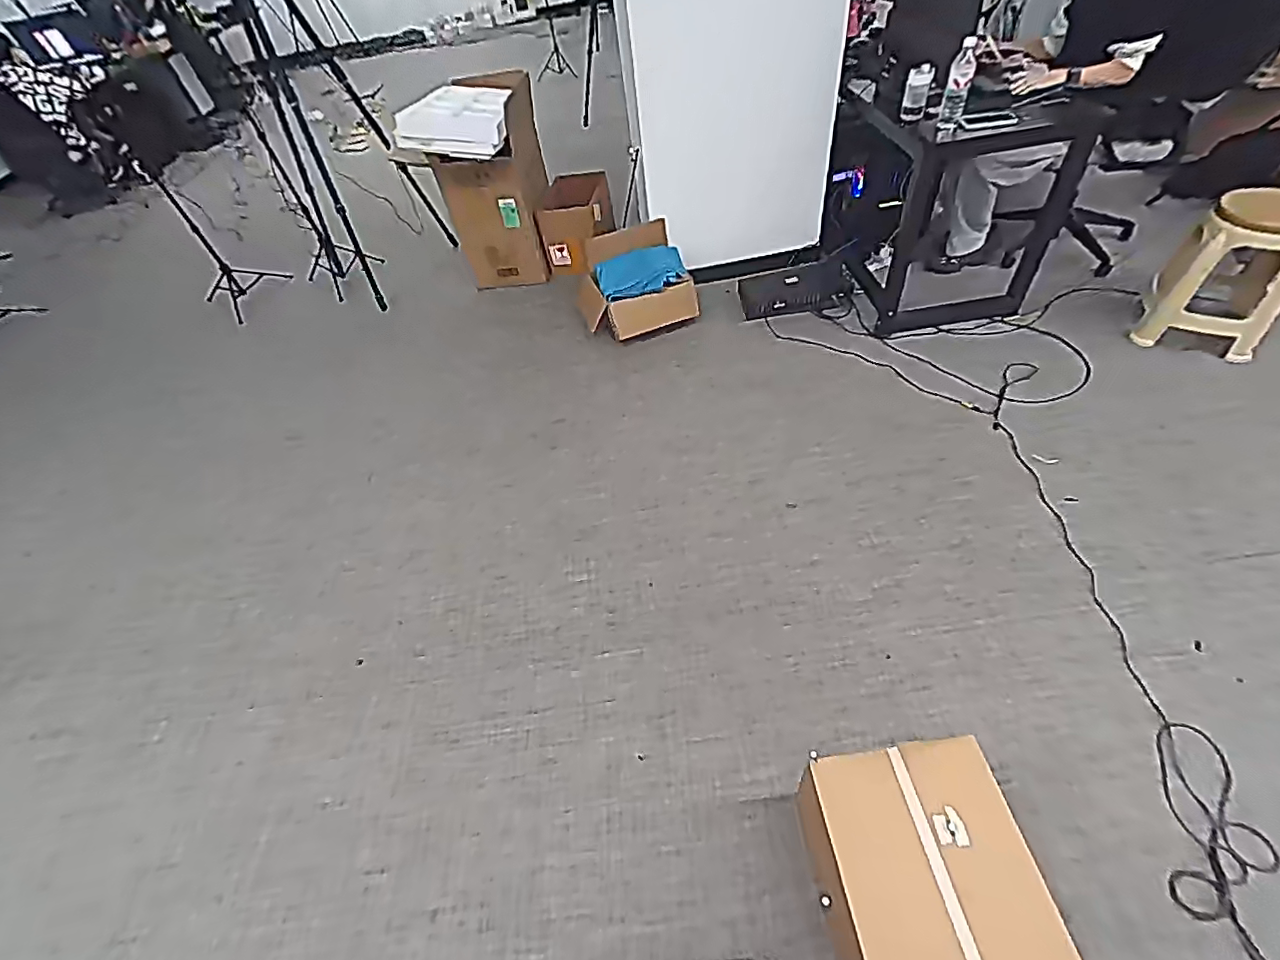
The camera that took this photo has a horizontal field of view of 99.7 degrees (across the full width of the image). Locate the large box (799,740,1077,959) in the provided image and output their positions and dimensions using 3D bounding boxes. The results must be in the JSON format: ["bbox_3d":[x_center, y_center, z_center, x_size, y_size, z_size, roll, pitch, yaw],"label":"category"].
[{"bbox_3d":[0.513,0.761,1.004,0.320,0.320,0.408,-9,48,1],"label":"large box"}]
